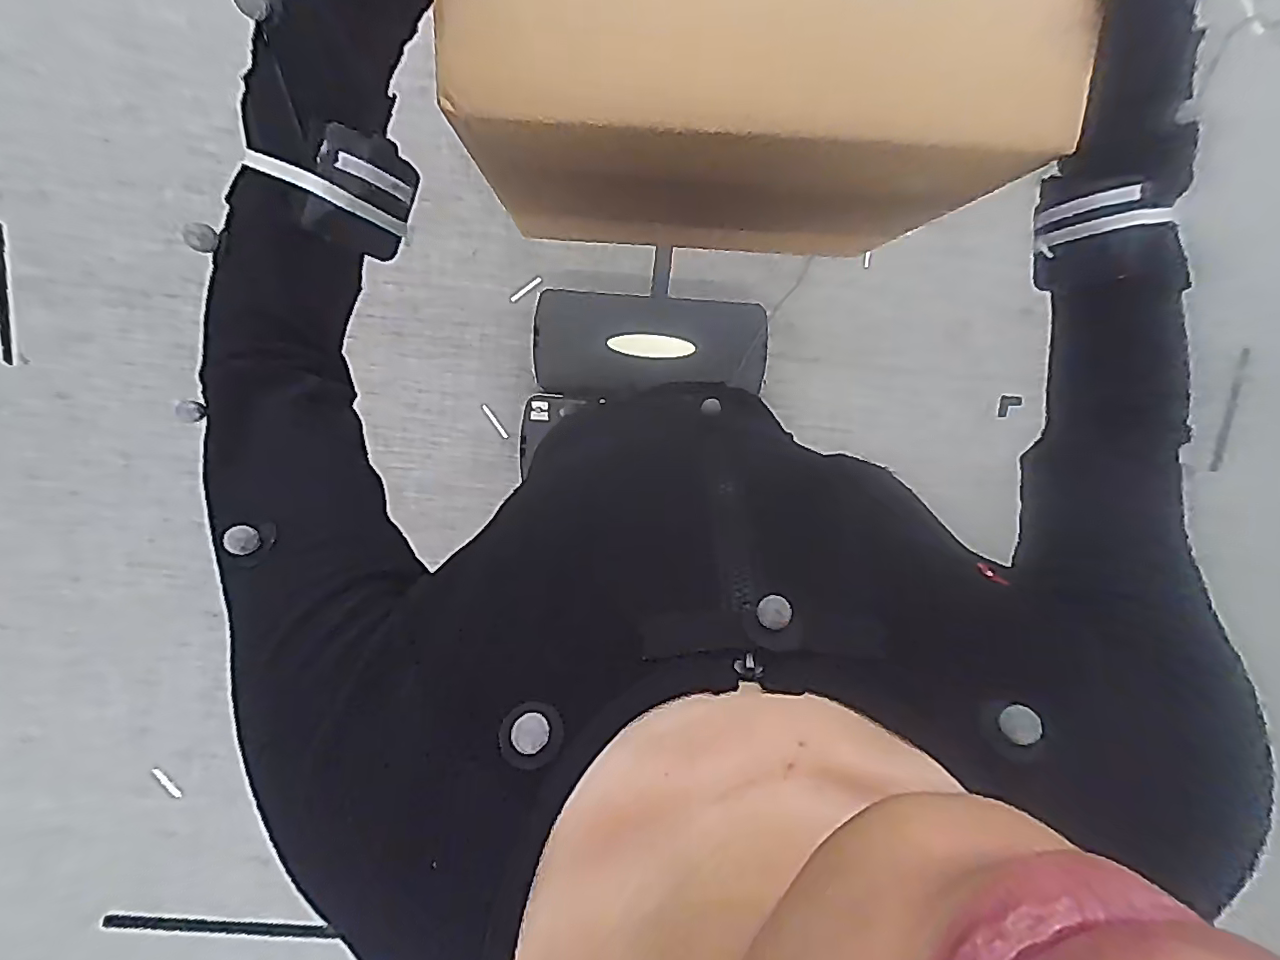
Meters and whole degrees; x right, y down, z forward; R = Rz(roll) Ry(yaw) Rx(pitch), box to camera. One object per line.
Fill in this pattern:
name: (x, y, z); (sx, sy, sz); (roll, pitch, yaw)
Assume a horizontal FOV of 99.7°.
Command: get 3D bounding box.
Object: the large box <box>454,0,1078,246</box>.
large box: (0.074, -0.404, 0.469); (0.408, 0.320, 0.320); (1, 101, -4)
